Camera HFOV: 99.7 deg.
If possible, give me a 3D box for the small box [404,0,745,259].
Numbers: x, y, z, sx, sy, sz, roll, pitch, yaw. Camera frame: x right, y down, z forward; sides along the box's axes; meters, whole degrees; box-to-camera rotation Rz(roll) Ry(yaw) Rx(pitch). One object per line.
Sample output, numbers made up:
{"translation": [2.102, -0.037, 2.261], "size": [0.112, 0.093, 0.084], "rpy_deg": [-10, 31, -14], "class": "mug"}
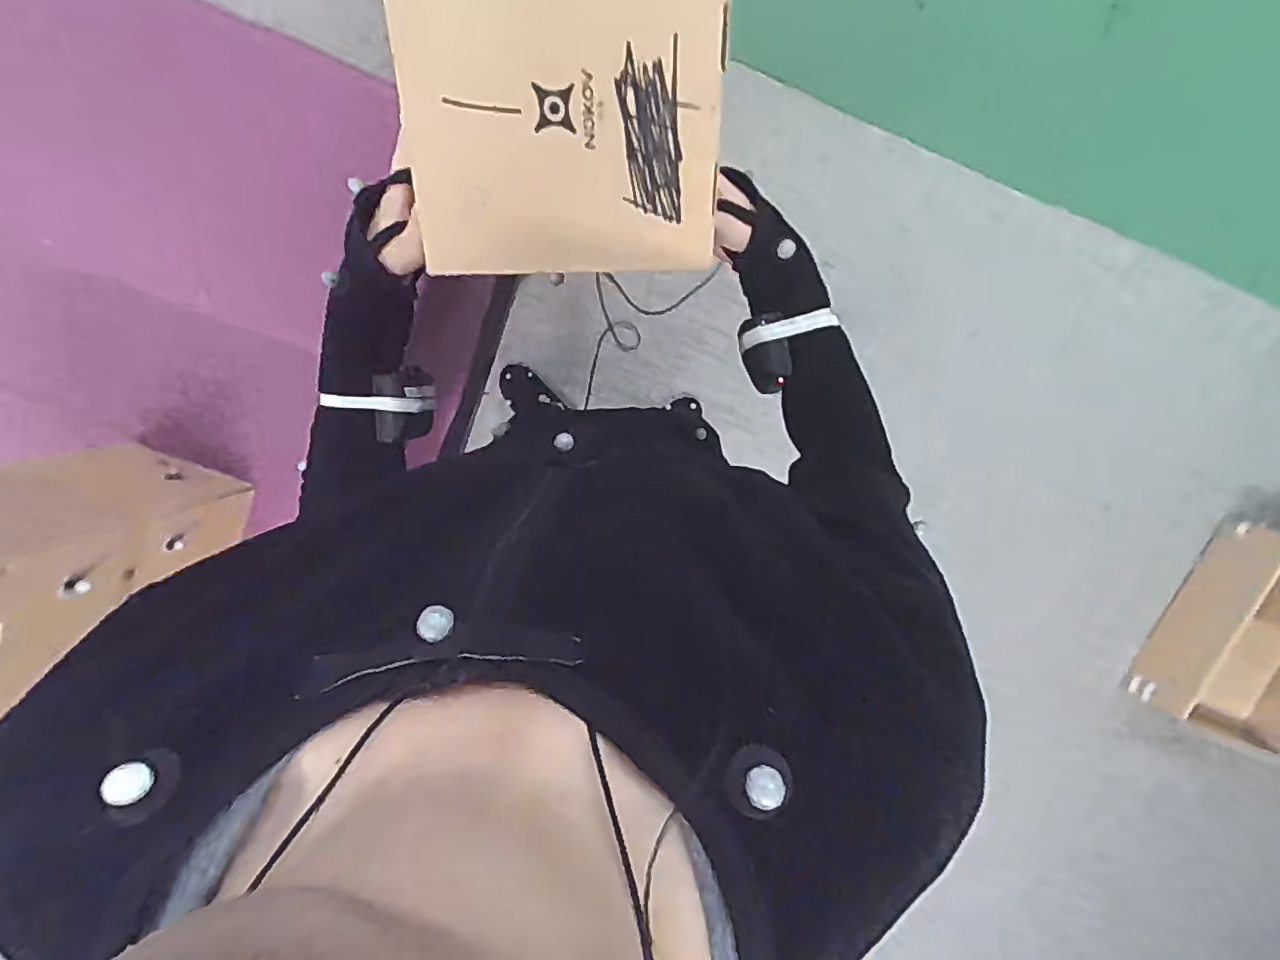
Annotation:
{"translation": [-0.047, -0.246, 0.361], "size": [0.179, 0.176, 0.168], "rpy_deg": [-3, 117, -11], "class": "small box"}
